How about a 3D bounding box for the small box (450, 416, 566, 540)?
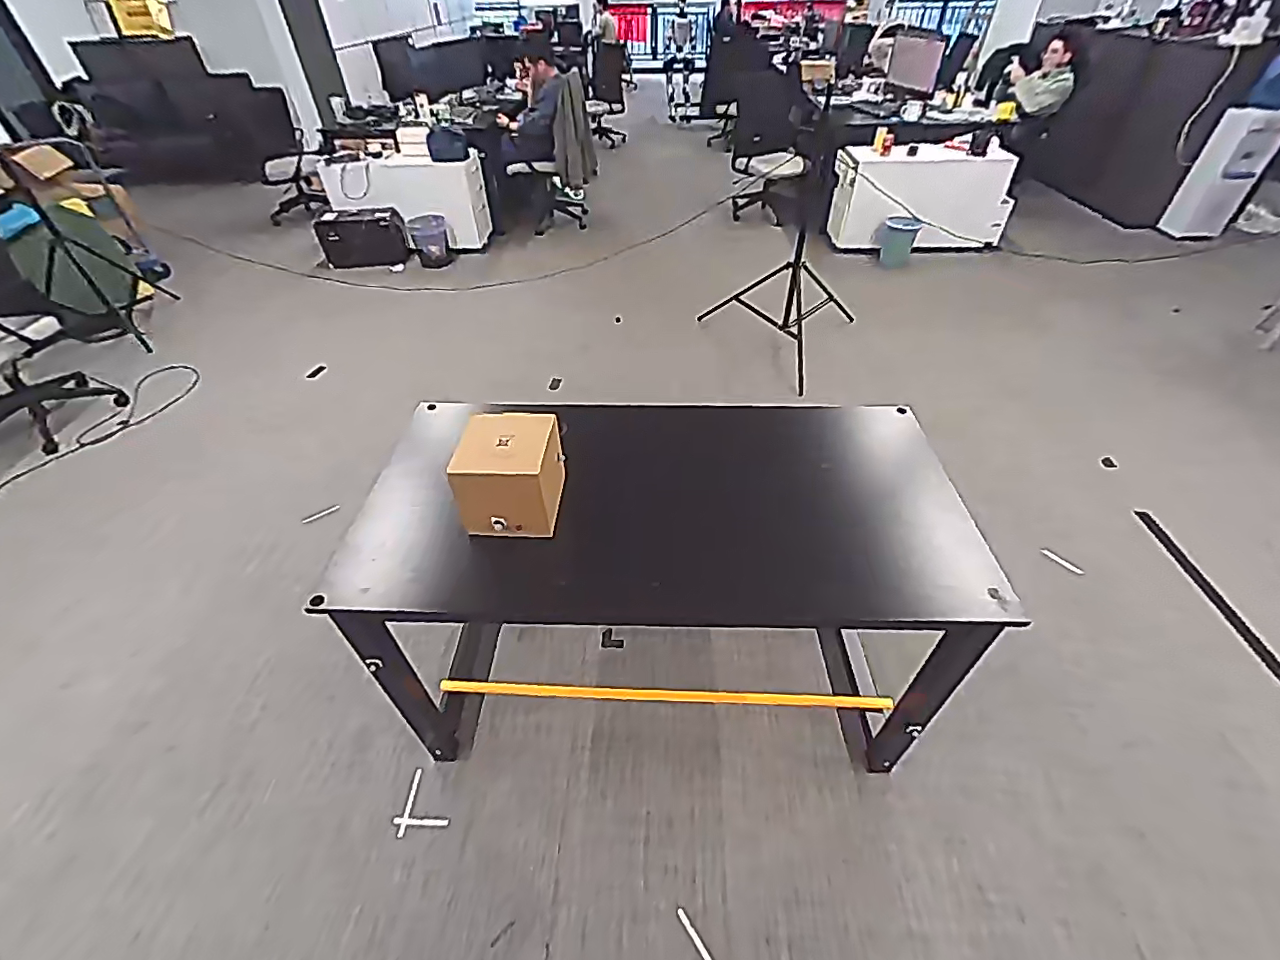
[{"bbox_3d":[-0.241,-0.005,1.037,0.168,0.176,0.179,0,44,3],"label":"small box"}]
